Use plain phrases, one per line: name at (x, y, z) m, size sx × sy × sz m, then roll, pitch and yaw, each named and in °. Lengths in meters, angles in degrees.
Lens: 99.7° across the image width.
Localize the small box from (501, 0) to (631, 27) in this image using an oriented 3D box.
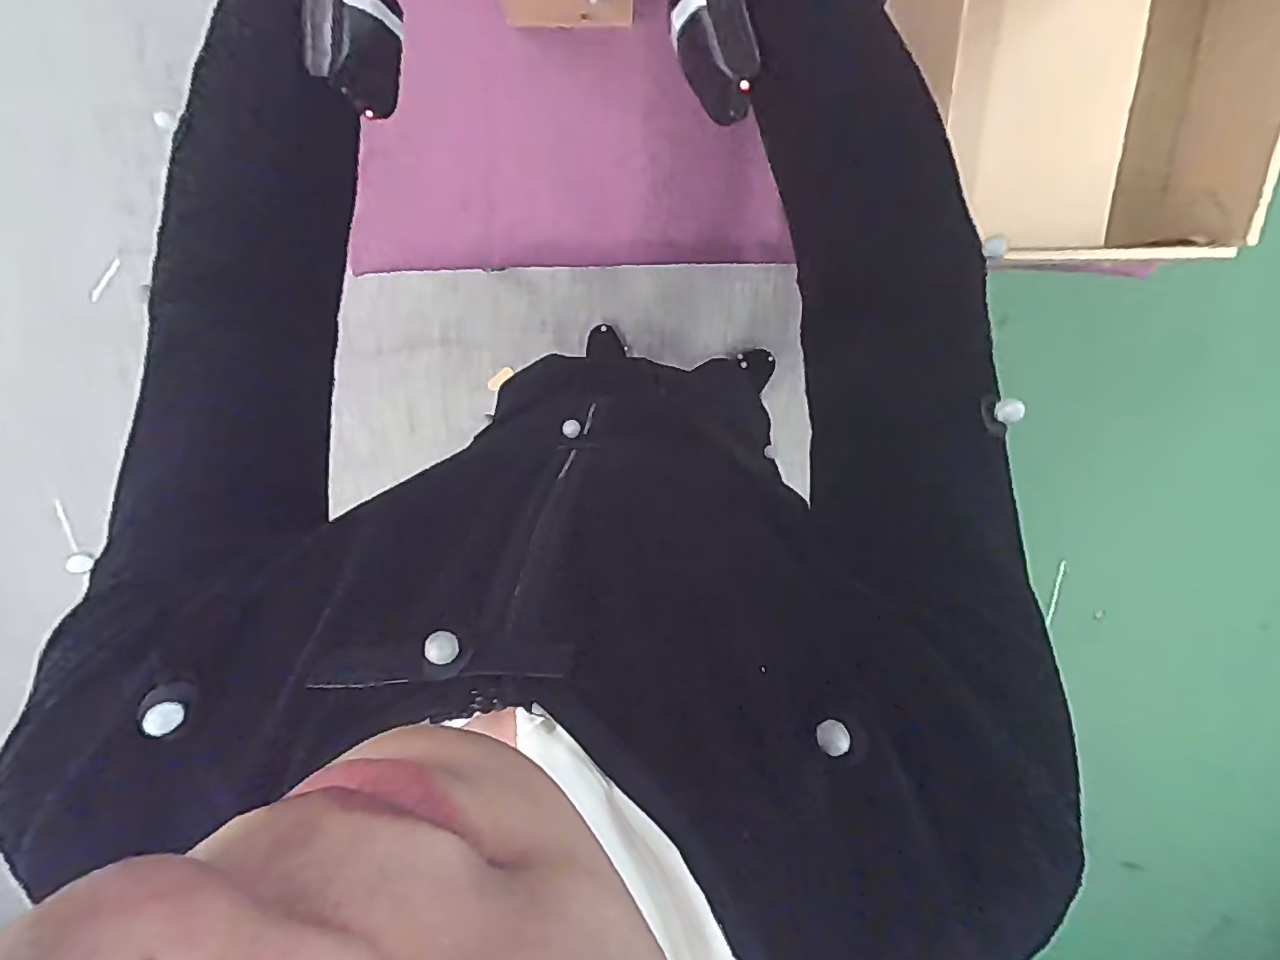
small box at (-0.092, -0.659, 0.619) m, size 0.168 × 0.176 × 0.179 m, roll -1°, pitch 107°, yaw -3°
